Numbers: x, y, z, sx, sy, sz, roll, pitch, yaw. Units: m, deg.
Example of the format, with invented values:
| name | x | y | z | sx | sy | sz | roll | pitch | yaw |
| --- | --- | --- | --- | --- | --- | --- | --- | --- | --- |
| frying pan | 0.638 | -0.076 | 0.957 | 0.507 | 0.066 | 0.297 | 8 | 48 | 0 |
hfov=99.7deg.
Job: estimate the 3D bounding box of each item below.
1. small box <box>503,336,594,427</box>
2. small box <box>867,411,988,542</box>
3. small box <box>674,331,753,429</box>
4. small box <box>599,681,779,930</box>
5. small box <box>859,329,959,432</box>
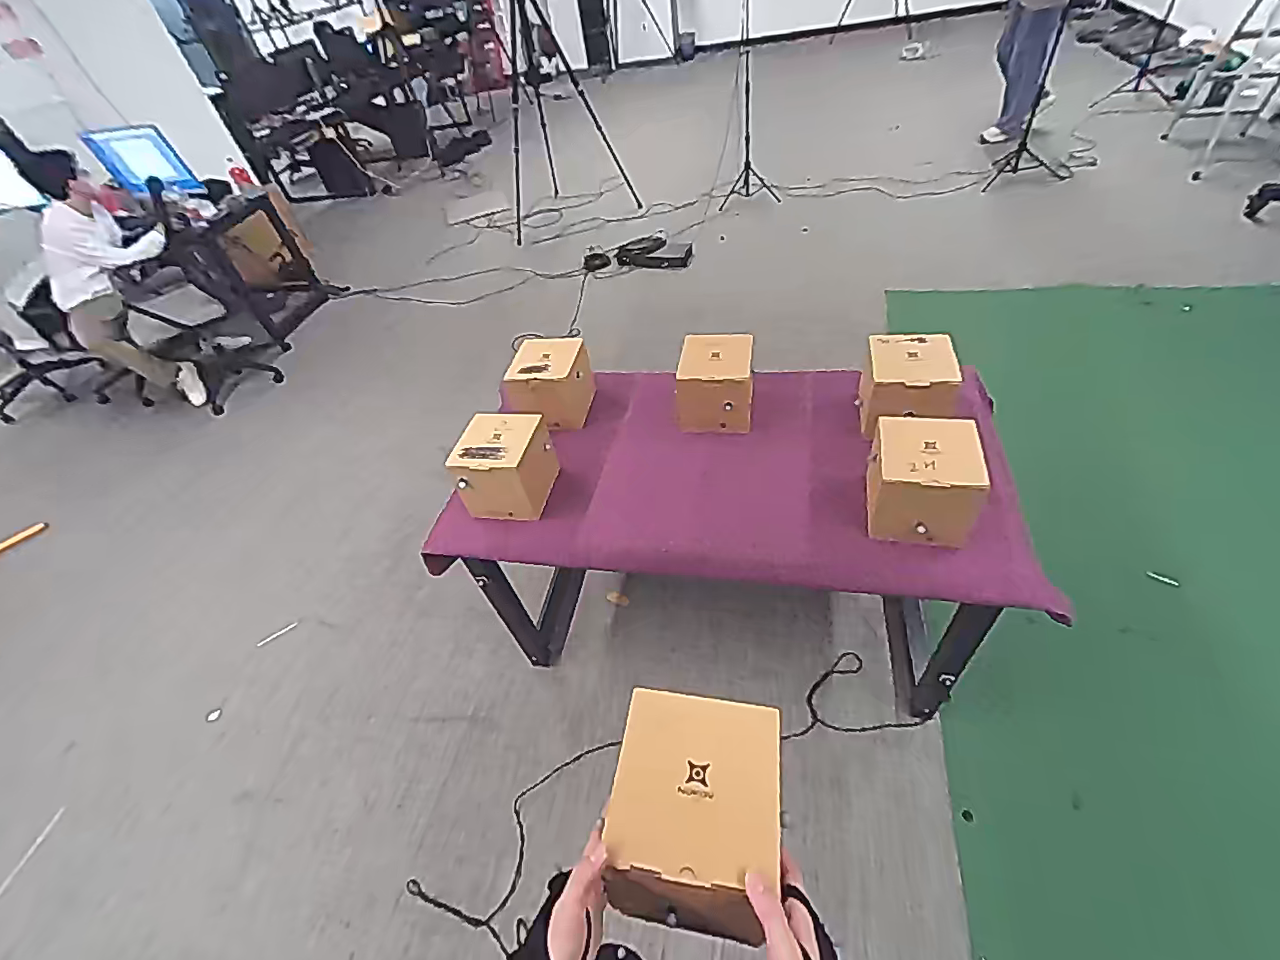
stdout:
| name | x | y | z | sx | sy | sz | roll | pitch | yaw |
| --- | --- | --- | --- | --- | --- | --- | --- | --- | --- |
| small box | -0.228 | -0.252 | 1.407 | 0.168 | 0.176 | 0.179 | 2 | 48 | 13 |
| small box | 0.525 | -0.008 | 1.014 | 0.168 | 0.176 | 0.179 | 4 | 48 | 17 |
| small box | 0.184 | -0.239 | 1.310 | 0.168 | 0.176 | 0.179 | 2 | 48 | 14 |
| small box | 0.059 | 0.354 | 0.597 | 0.168 | 0.176 | 0.179 | 4 | 41 | 10 |
| small box | 0.584 | -0.213 | 1.197 | 0.168 | 0.176 | 0.179 | 3 | 49 | 15 |
